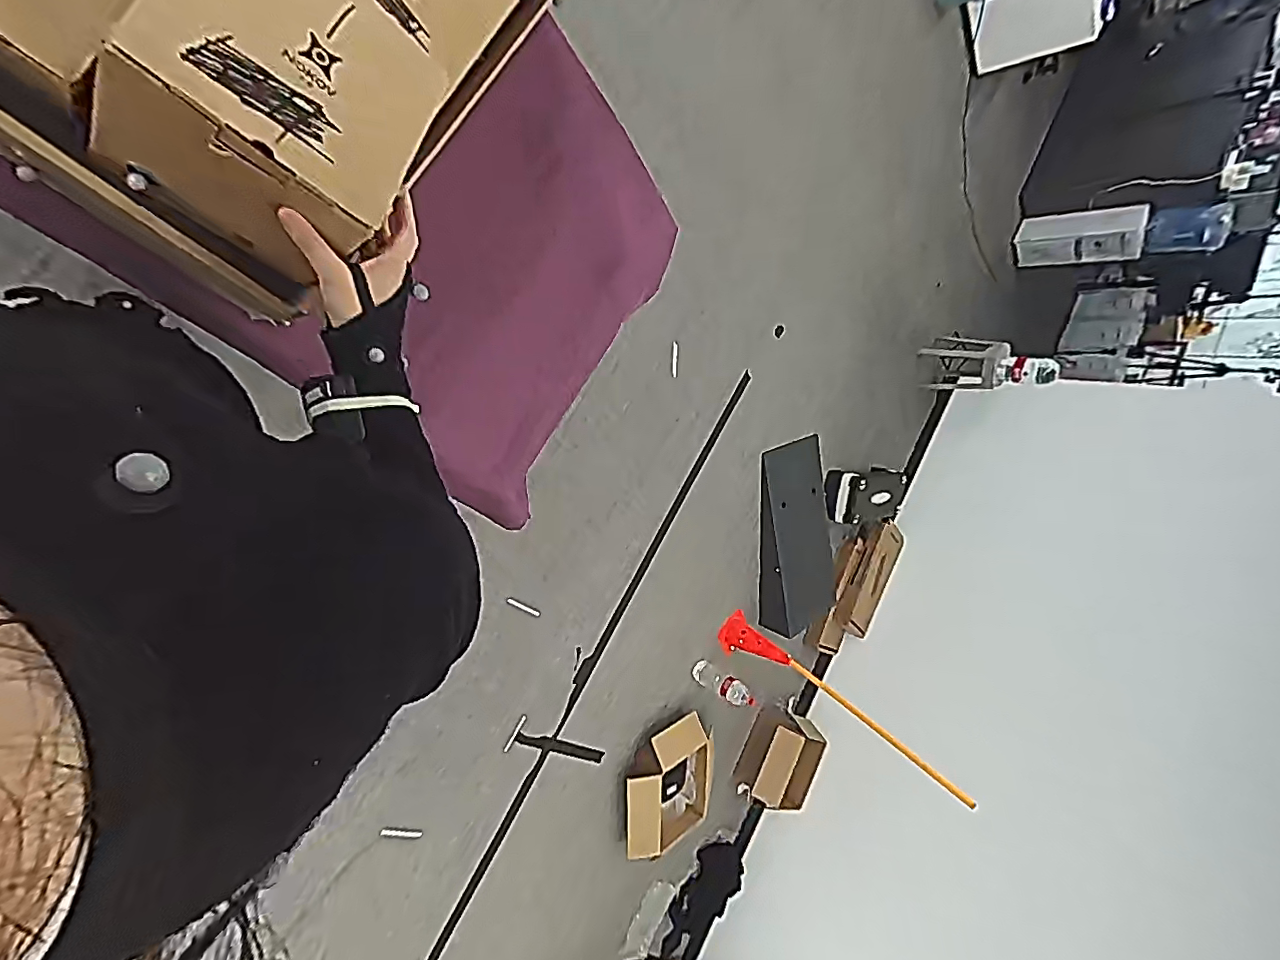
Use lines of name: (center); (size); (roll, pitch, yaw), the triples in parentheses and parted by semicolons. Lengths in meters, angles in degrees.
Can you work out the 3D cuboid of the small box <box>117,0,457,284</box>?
small box: (-0.292, -0.294, 0.453); (0.168, 0.176, 0.179); (32, 67, -44)
